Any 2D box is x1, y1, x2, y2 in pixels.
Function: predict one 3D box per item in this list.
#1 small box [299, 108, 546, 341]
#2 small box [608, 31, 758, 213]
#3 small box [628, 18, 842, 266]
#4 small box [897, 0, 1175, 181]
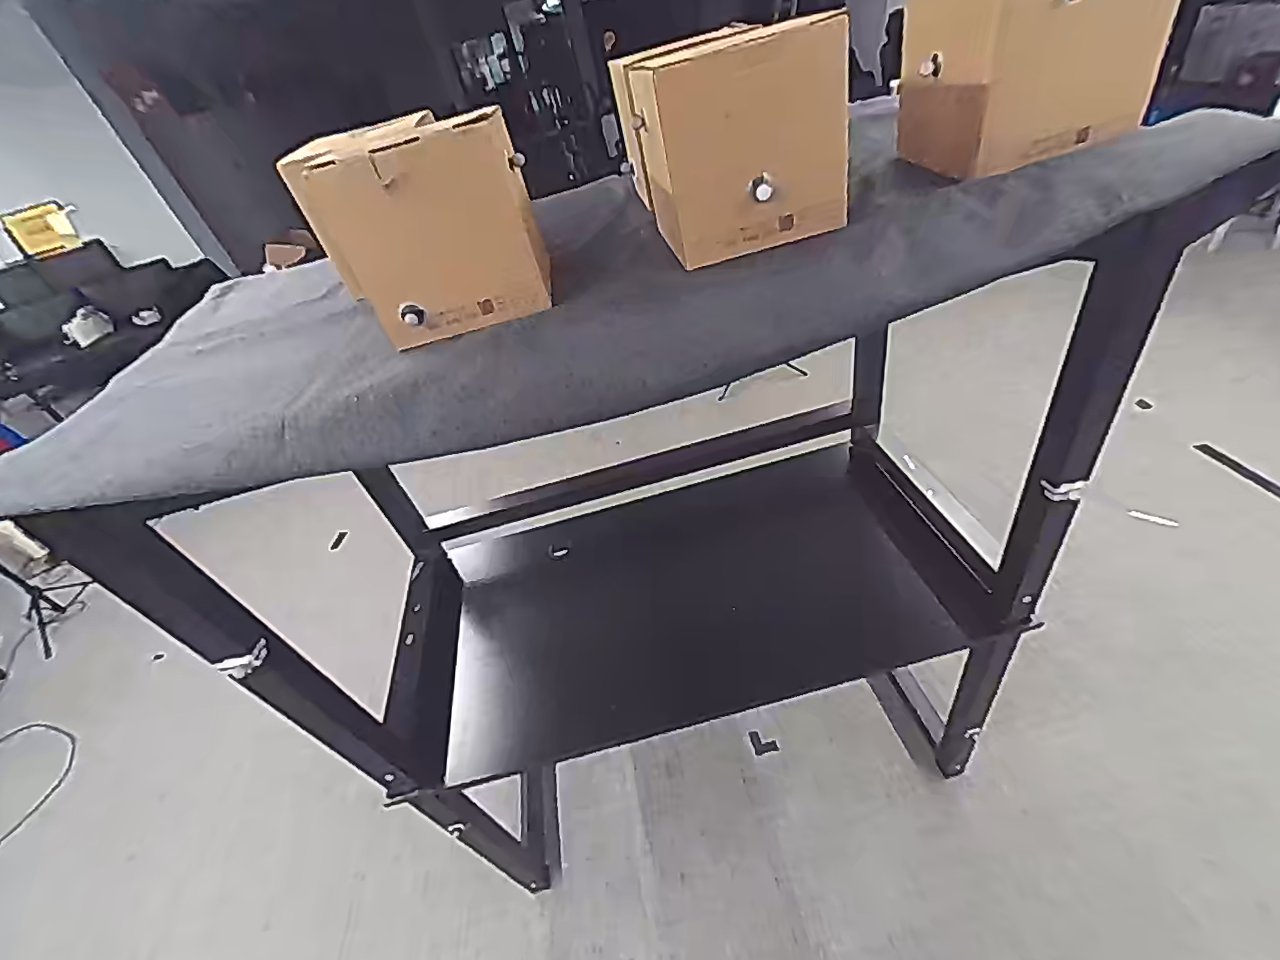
[{"bbox_3d":[-0.201,-0.260,0.562,0.168,0.176,0.179,-15,38,1],"label":"small box"},{"bbox_3d":[0.063,-0.494,0.749,0.179,0.176,0.168,-14,39,2],"label":"small box"},{"bbox_3d":[0.091,-0.339,0.554,0.168,0.176,0.179,-15,38,2],"label":"small box"},{"bbox_3d":[0.387,-0.428,0.561,0.168,0.176,0.179,-14,39,4],"label":"small box"}]
